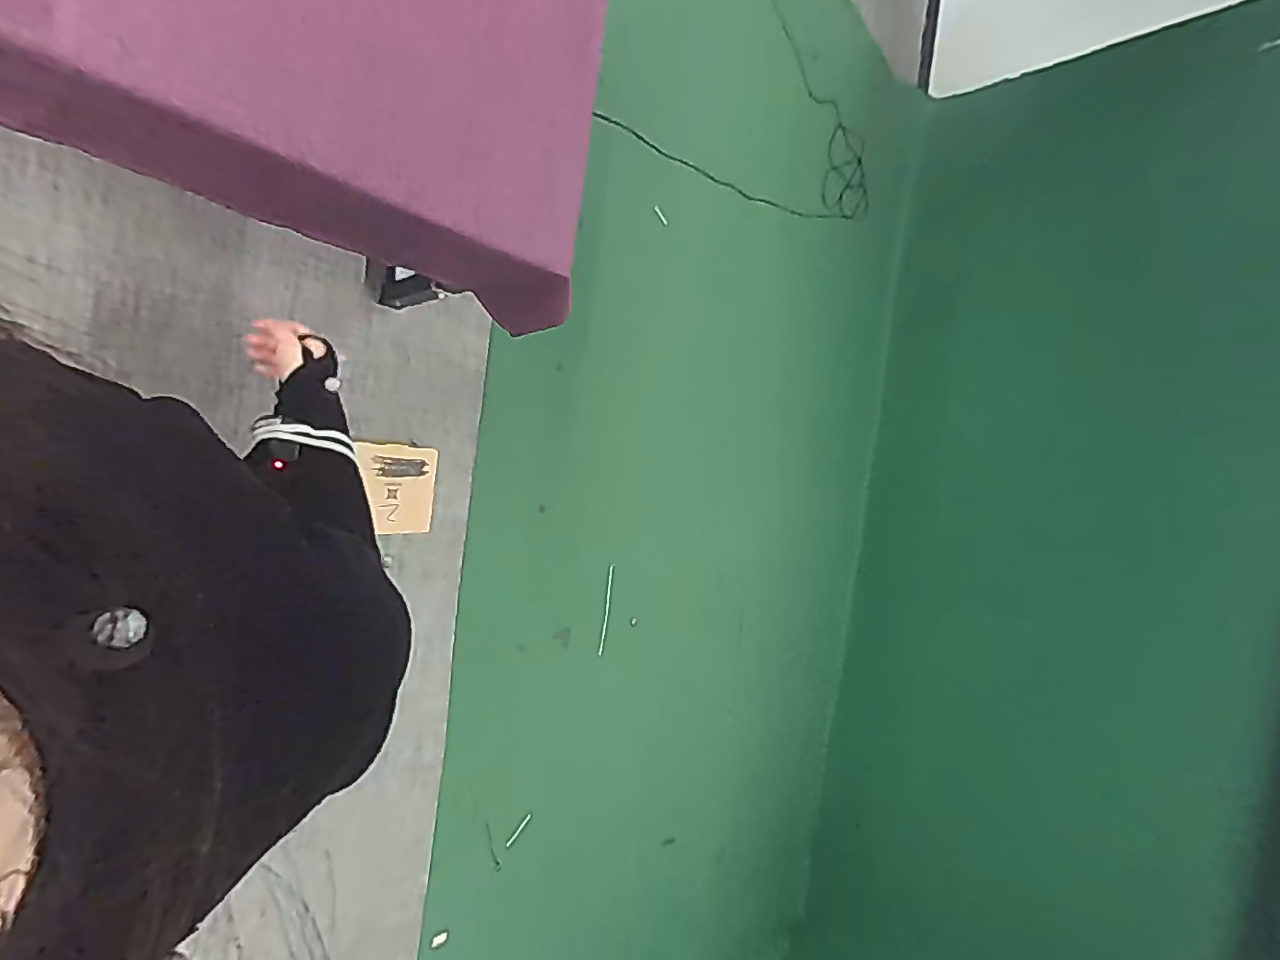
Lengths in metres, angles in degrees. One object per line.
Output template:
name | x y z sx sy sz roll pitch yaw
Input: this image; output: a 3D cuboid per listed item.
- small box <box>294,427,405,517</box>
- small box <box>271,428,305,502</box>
small box | -0.651 -0.018 1.207 0.168 0.176 0.179 6 92 -49
small box | -0.775 -0.036 1.312 0.179 0.176 0.168 2 95 -47
